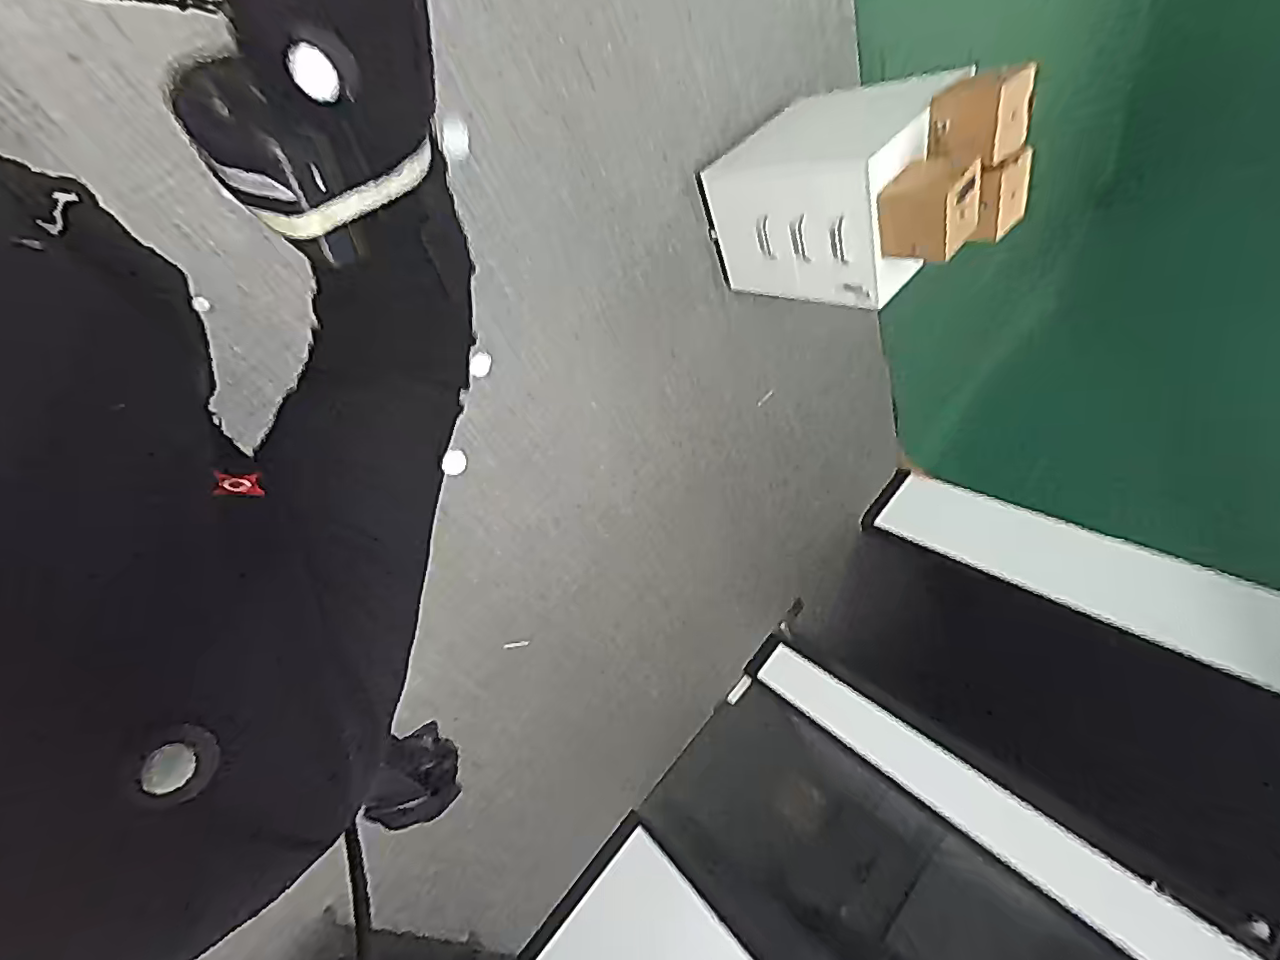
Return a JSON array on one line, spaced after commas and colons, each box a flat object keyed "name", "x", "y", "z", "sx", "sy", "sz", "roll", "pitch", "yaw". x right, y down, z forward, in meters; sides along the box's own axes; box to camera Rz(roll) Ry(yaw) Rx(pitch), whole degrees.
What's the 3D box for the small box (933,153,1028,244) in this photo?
[{"name": "small box", "x": 0.945, "y": -0.787, "z": 1.514, "sx": 0.168, "sy": 0.176, "sz": 0.179, "roll": -41, "pitch": 131, "yaw": -19}]
